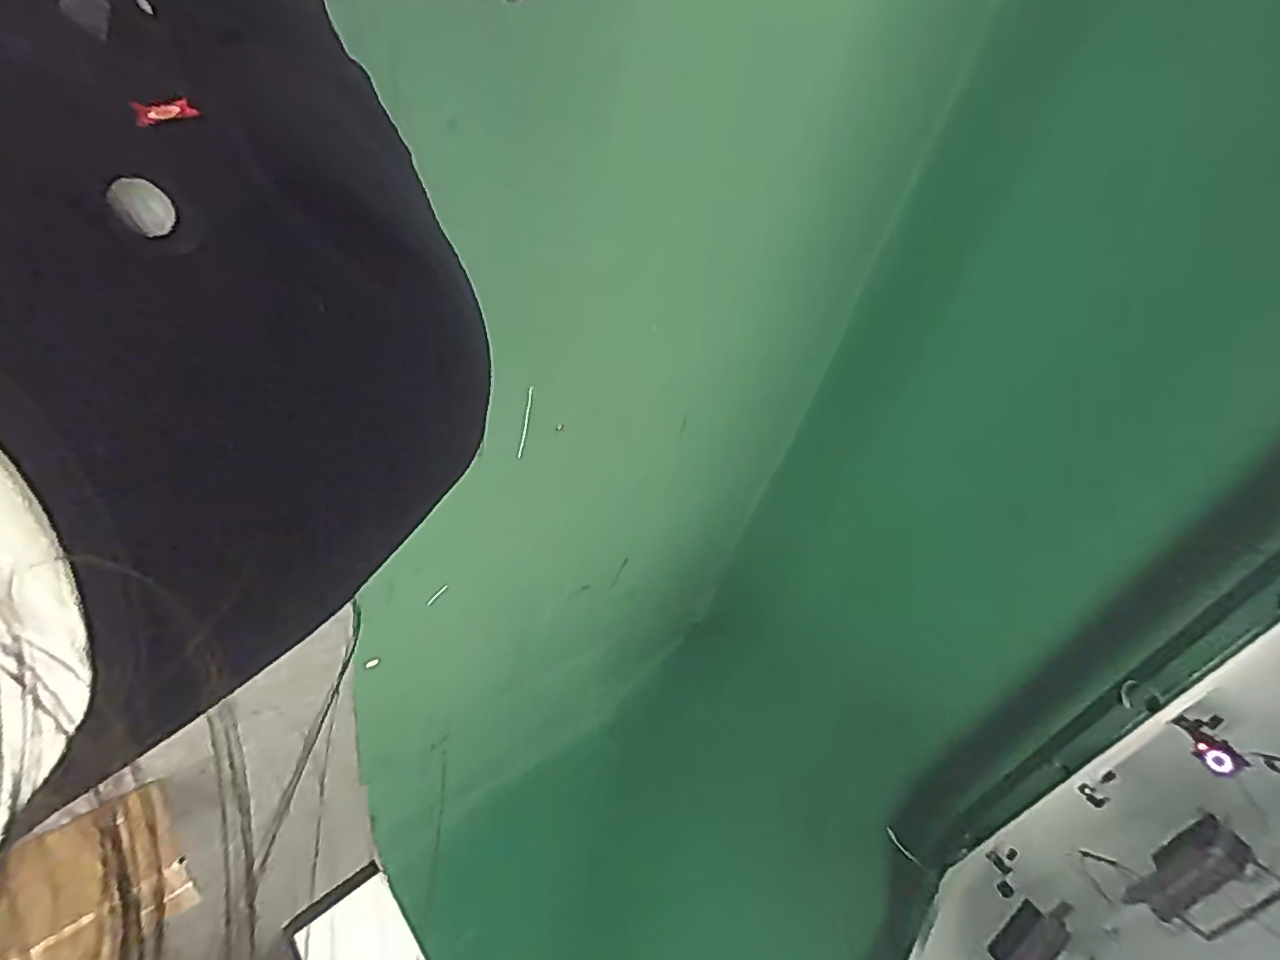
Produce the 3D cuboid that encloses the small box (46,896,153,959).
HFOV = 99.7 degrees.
[{"bbox_3d":[-1.509,1.320,1.512,0.168,0.176,0.179,-22,139,-41],"label":"small box"}]
